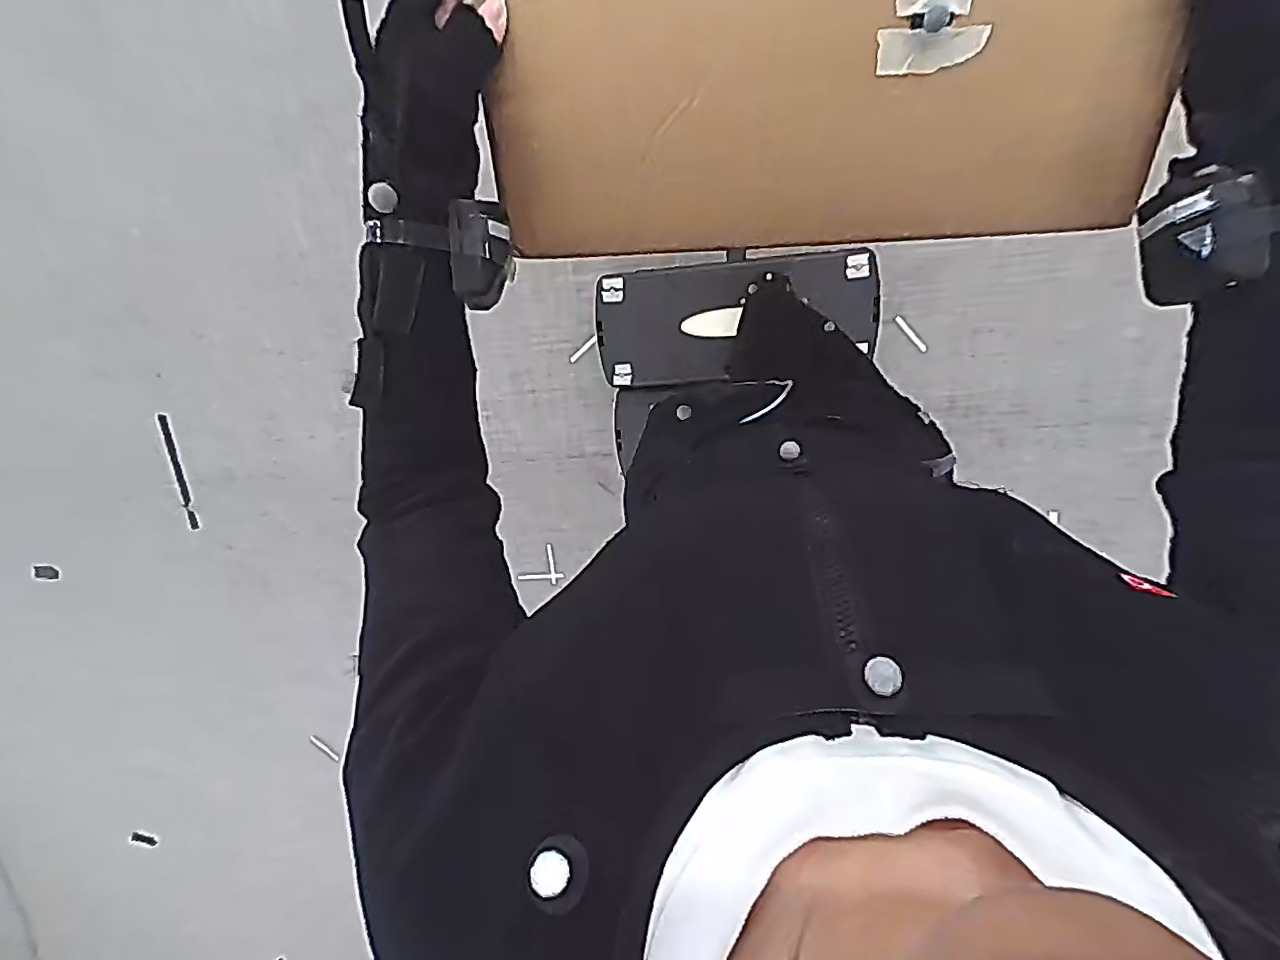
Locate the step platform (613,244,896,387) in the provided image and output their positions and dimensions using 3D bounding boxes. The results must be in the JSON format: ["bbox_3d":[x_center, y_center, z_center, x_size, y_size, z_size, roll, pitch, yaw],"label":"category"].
[{"bbox_3d":[0.273,-0.406,1.369,0.684,0.204,0.286,-4,106,8],"label":"step platform"}]

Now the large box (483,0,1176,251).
[{"bbox_3d":[0.114,-0.379,0.433,0.408,0.320,0.320,0,119,8],"label":"large box"}]
